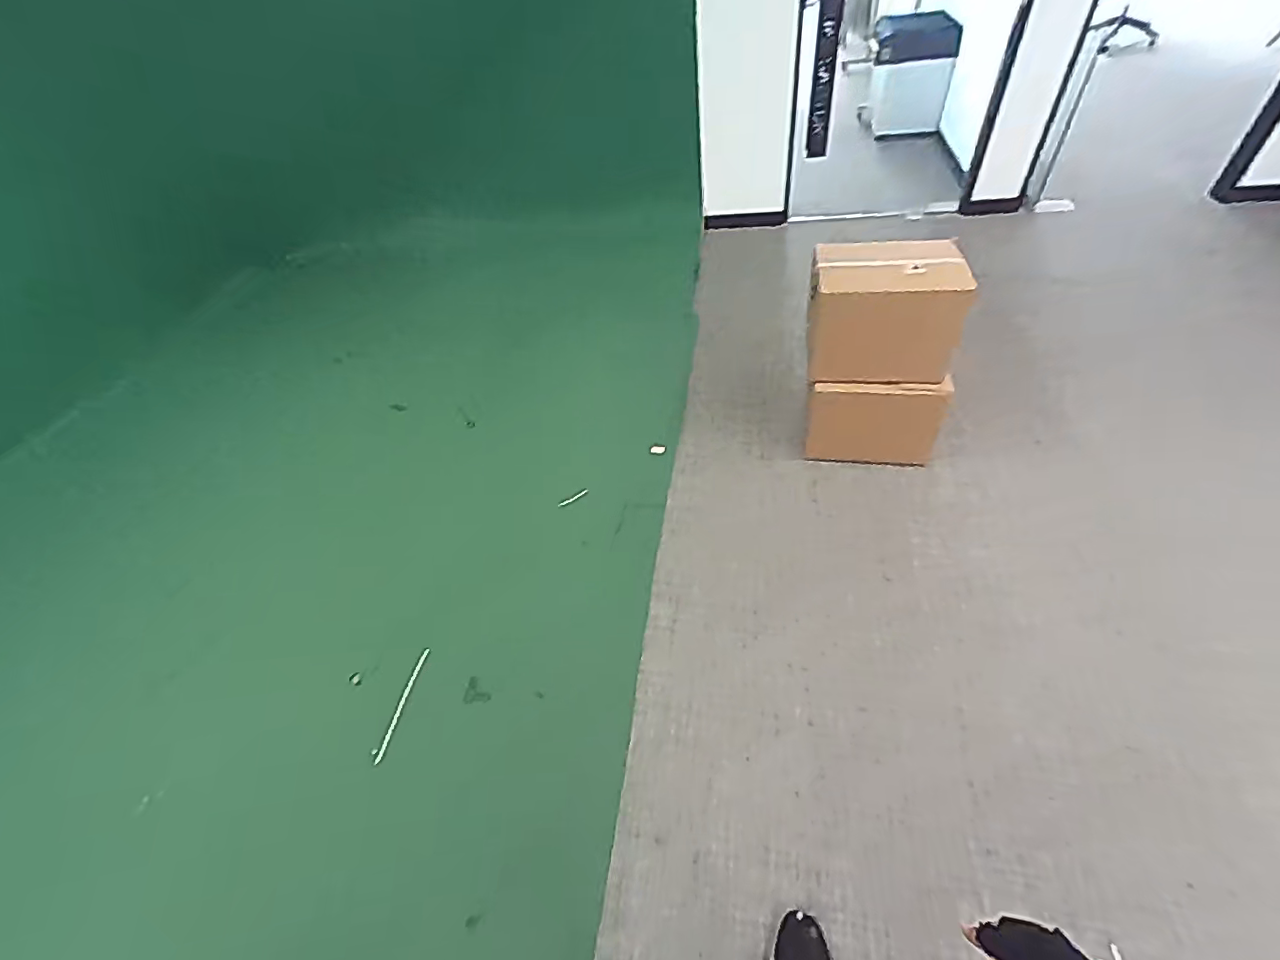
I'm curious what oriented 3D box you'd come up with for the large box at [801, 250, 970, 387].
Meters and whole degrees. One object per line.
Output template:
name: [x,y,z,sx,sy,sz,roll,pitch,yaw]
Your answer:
large box: [0.732,-0.504,1.691,0.408,0.320,0.320,4,46,11]
